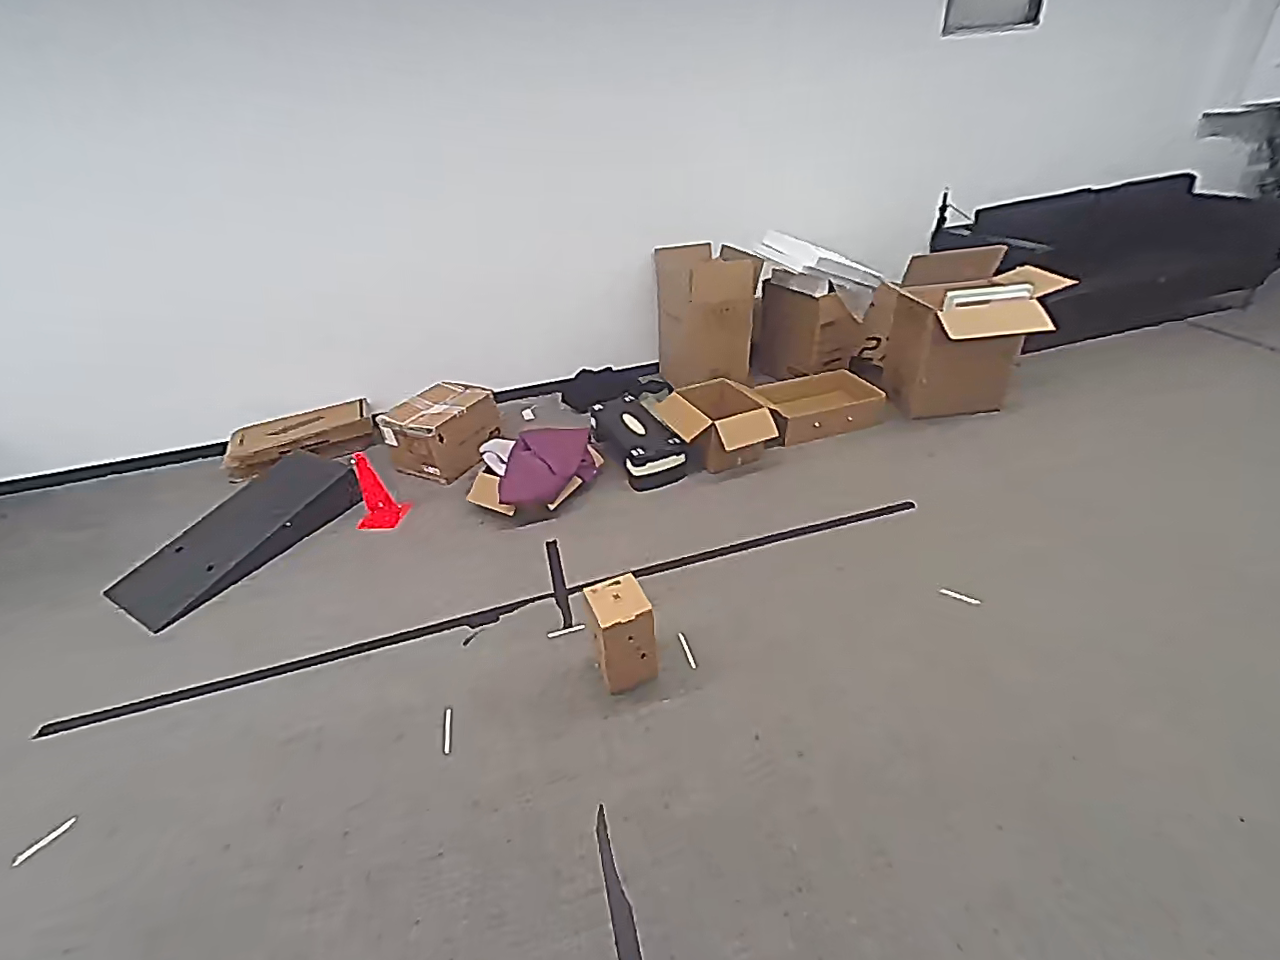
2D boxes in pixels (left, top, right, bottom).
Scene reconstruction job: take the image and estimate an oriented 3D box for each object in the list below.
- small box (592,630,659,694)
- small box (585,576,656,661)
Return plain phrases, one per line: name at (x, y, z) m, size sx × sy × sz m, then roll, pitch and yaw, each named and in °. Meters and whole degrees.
small box at (-0.047, 0.566, 1.775) m, size 0.179 × 0.176 × 0.168 m, roll -16°, pitch 35°, yaw -15°
small box at (-0.059, 0.436, 1.676) m, size 0.168 × 0.176 × 0.179 m, roll -17°, pitch 36°, yaw -17°
